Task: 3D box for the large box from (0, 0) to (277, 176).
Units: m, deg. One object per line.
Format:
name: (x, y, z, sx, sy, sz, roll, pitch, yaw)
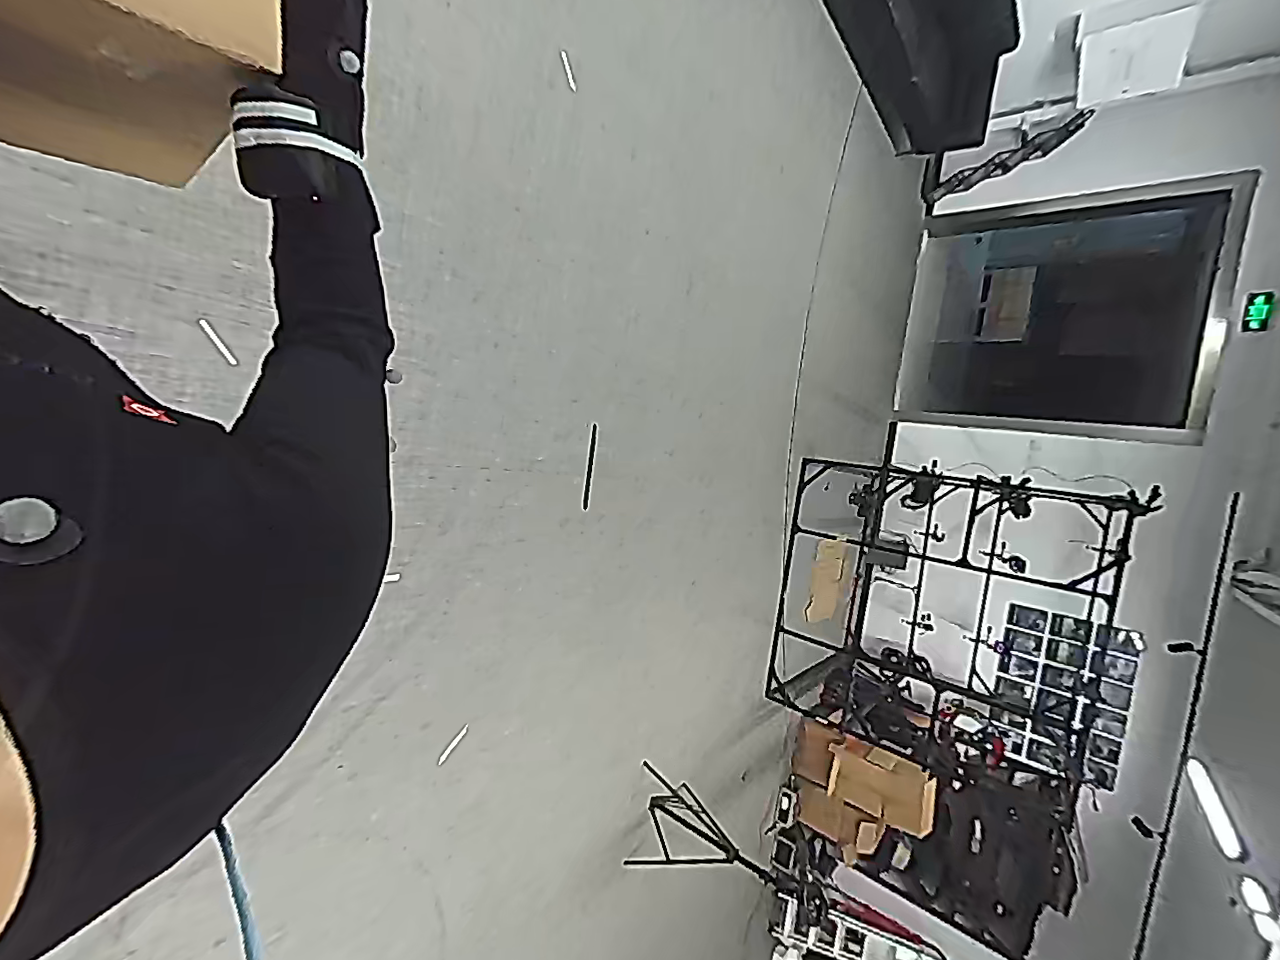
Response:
large box: (-0.491, -0.430, 0.298, 0.408, 0.320, 0.320, -7, 101, -50)
